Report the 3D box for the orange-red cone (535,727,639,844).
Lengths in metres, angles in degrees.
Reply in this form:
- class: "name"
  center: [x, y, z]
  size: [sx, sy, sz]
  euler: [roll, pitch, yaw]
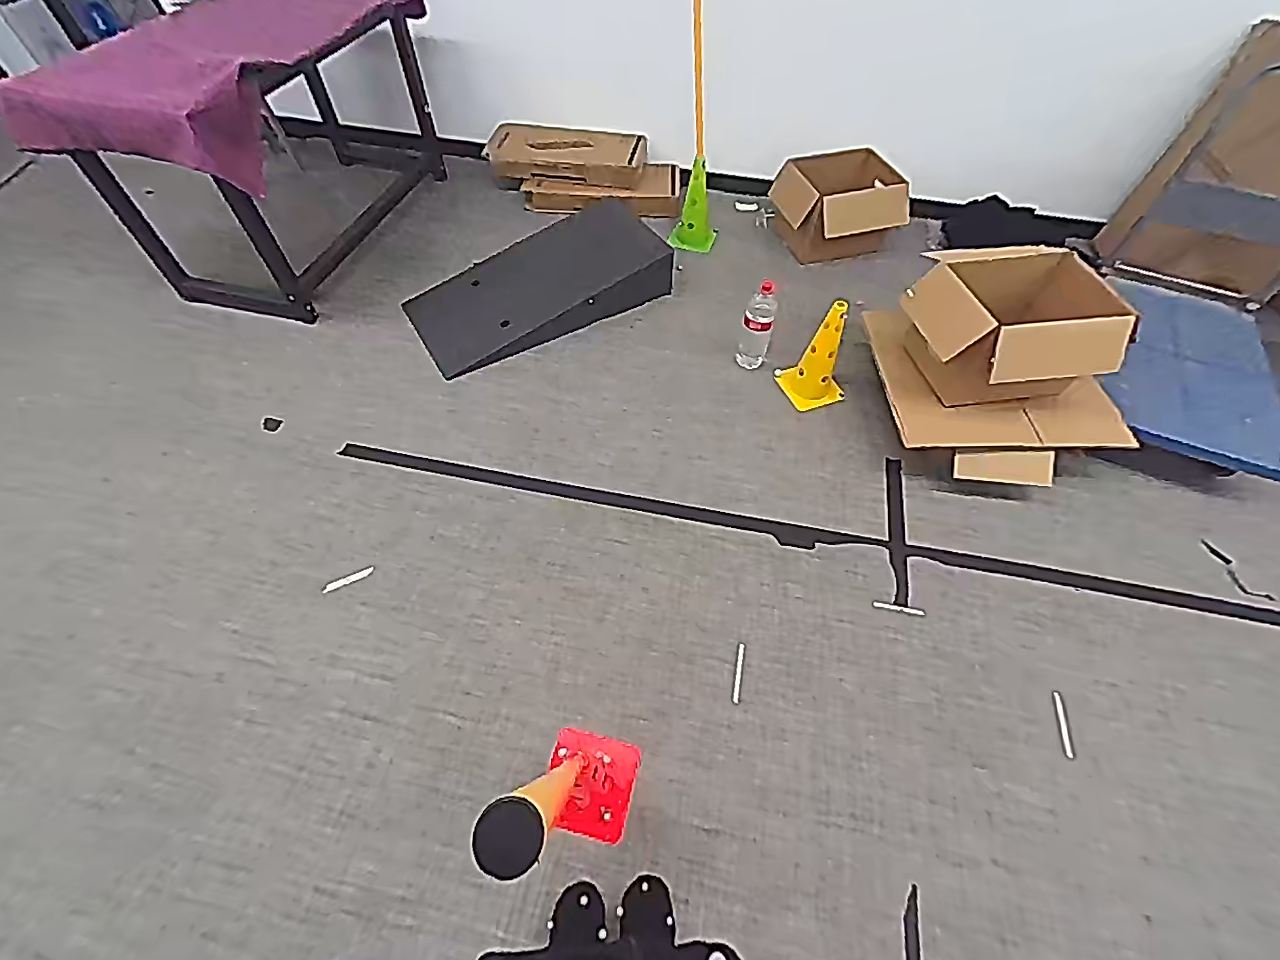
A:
- class: "orange-red cone"
  center: [-0.110, 0.582, 1.075]
  size: [0.198, 0.360, 0.199]
  euler: [14, 55, 7]
